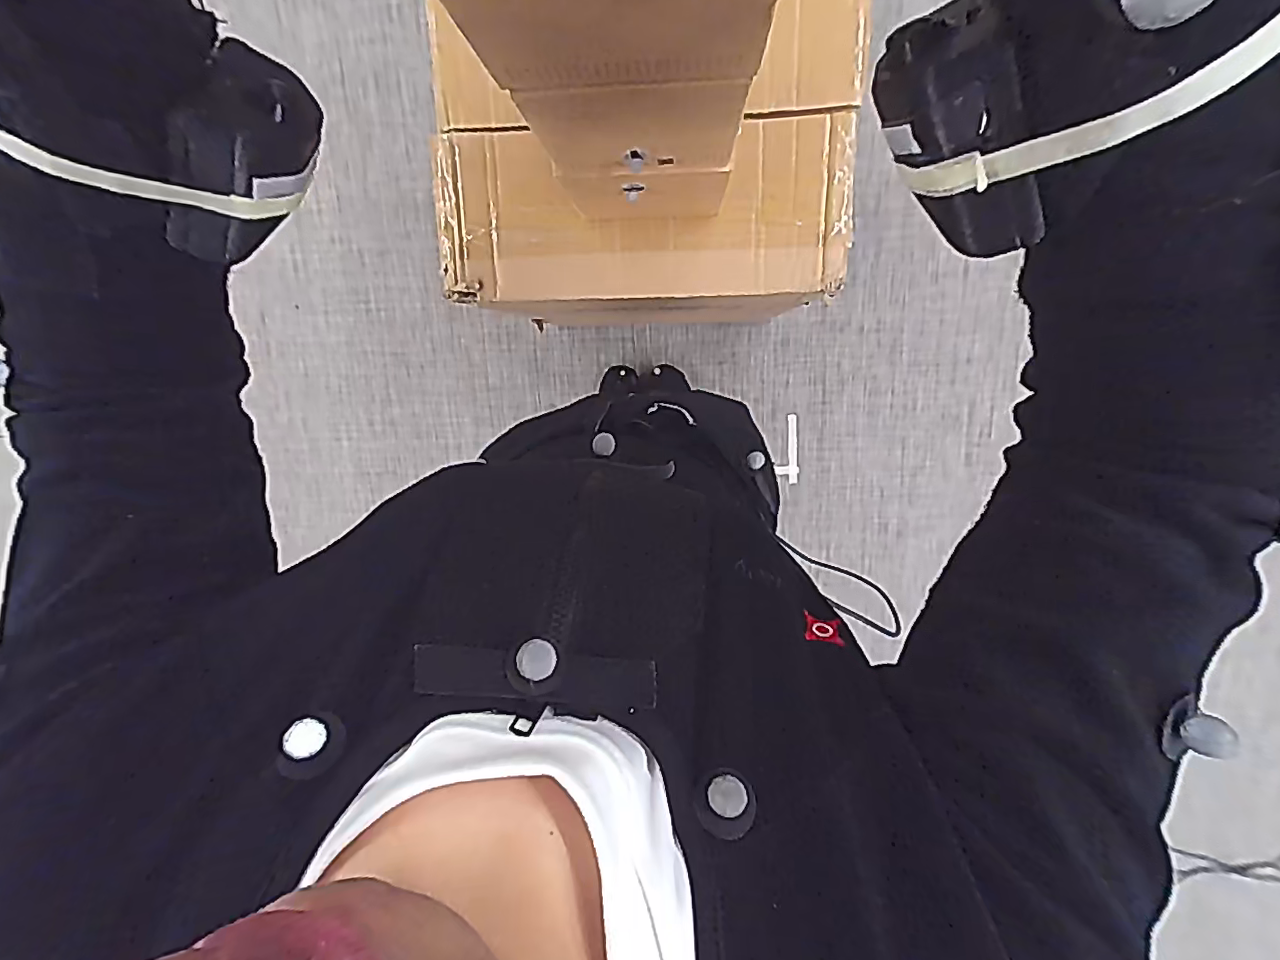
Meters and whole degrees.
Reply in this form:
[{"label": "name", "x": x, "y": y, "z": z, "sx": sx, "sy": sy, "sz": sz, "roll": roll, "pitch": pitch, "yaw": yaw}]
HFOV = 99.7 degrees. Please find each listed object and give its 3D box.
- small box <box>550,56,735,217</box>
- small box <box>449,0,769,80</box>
[{"label": "small box", "x": 0.007, "y": -0.392, "z": 0.582, "sx": 0.179, "sy": 0.176, "sz": 0.168, "roll": 0, "pitch": 103, "yaw": 4}, {"label": "small box", "x": -0.015, "y": -0.325, "z": 0.260, "sx": 0.179, "sy": 0.176, "sz": 0.168, "roll": 0, "pitch": 103, "yaw": 4}]
